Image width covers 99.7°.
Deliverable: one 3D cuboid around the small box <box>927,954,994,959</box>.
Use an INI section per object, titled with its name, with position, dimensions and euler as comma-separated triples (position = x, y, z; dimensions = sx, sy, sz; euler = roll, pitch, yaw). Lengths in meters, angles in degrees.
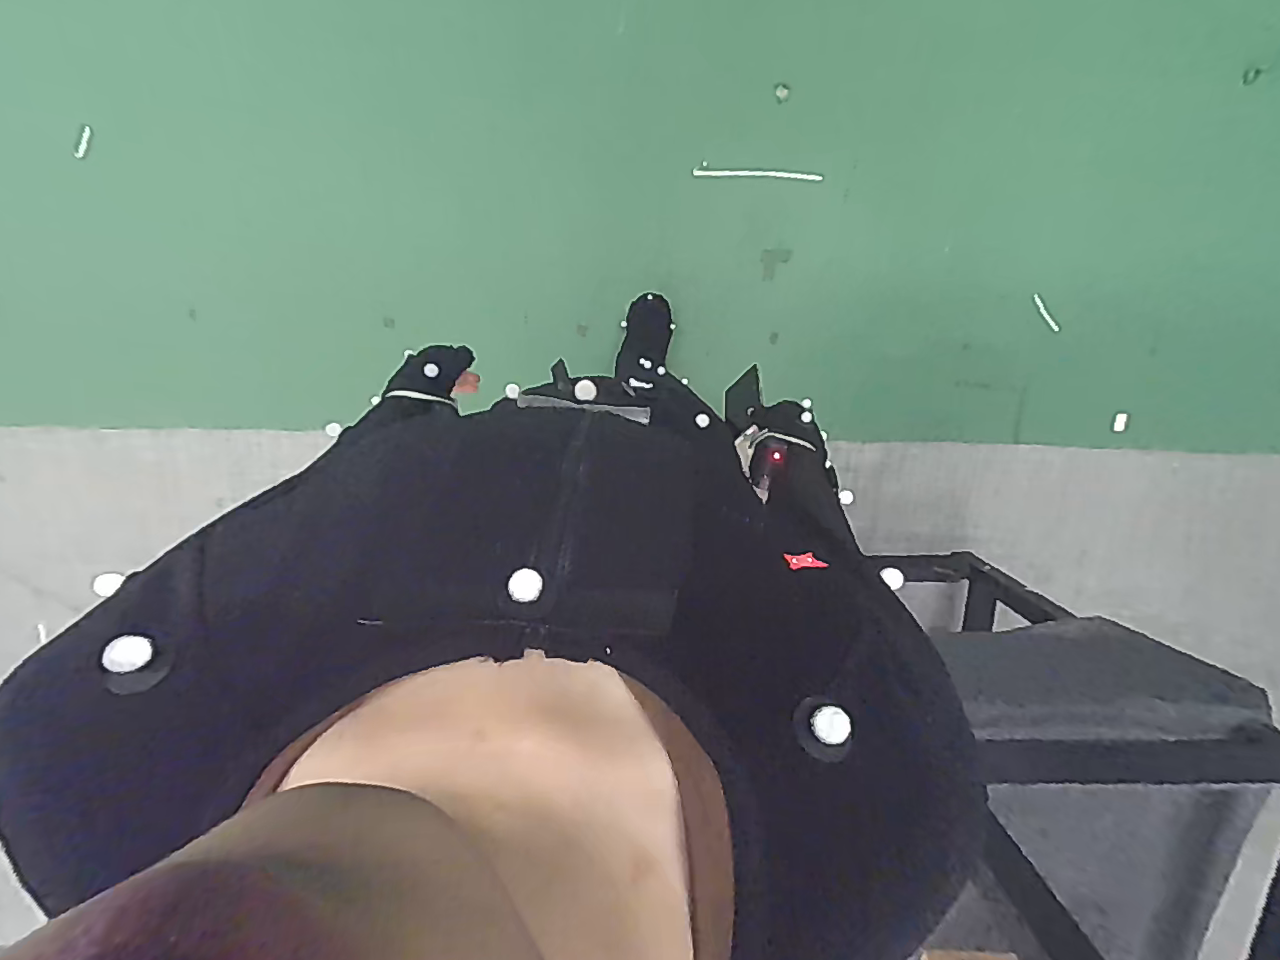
[small box]
position = 0.559, 0.906, 0.860
dimensions = 0.168, 0.176, 0.179
euler = 3, 102, -1
